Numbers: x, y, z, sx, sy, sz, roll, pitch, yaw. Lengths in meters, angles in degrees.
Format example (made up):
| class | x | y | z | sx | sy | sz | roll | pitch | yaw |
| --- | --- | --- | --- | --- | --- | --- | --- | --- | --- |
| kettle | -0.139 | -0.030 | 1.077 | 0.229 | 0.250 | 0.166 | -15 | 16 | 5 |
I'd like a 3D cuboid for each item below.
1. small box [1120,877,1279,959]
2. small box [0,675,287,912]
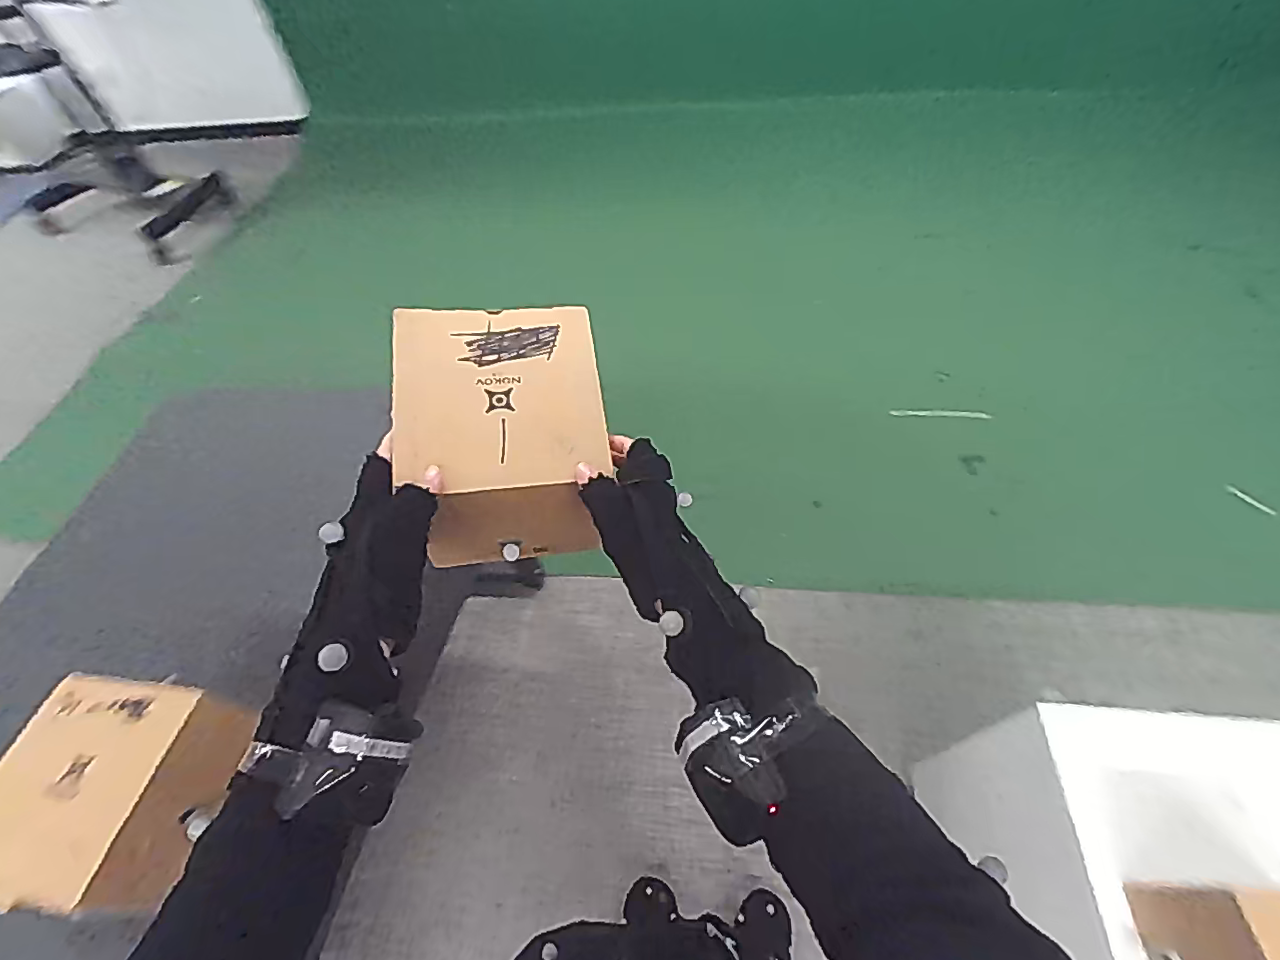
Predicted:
| class | x | y | z | sx | sy | sz | roll | pitch | yaw |
| --- | --- | --- | --- | --- | --- | --- | --- | --- | --- |
| small box | 0.616 | 0.473 | 0.498 | 0.179 | 0.176 | 0.168 | -2 | 54 | 6 |
| small box | -0.520 | 0.322 | 0.564 | 0.168 | 0.176 | 0.179 | 3 | 55 | 9 |
